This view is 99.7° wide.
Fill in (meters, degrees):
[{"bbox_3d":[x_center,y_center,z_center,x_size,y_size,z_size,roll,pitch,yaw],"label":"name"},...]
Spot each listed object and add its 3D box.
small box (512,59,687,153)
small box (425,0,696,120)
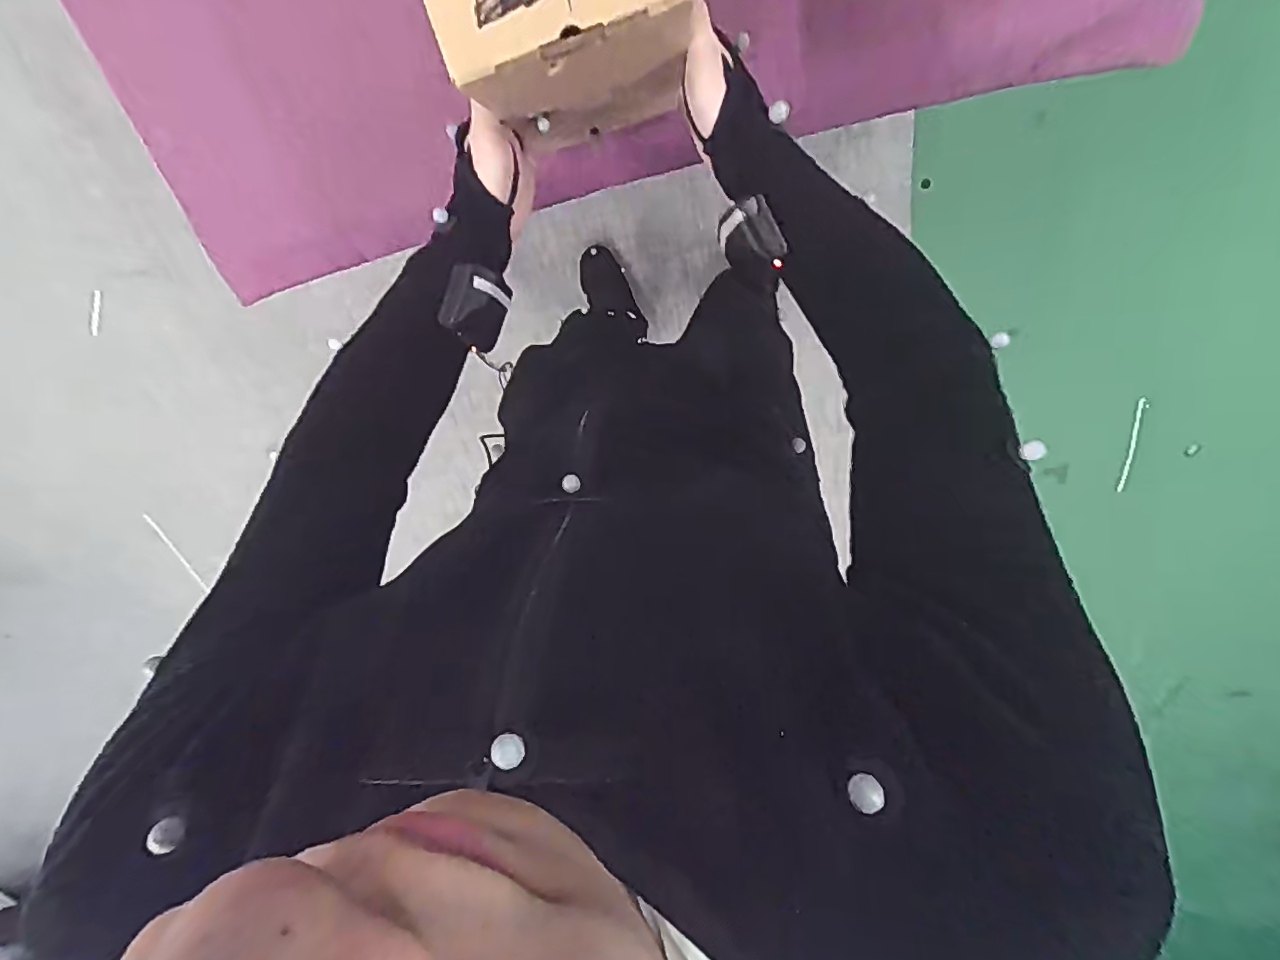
[{"bbox_3d":[-0.057,-0.448,0.526,0.168,0.176,0.179,-14,114,7],"label":"small box"},{"bbox_3d":[-0.060,-0.379,0.377,0.168,0.176,0.179,-14,112,8],"label":"small box"}]
